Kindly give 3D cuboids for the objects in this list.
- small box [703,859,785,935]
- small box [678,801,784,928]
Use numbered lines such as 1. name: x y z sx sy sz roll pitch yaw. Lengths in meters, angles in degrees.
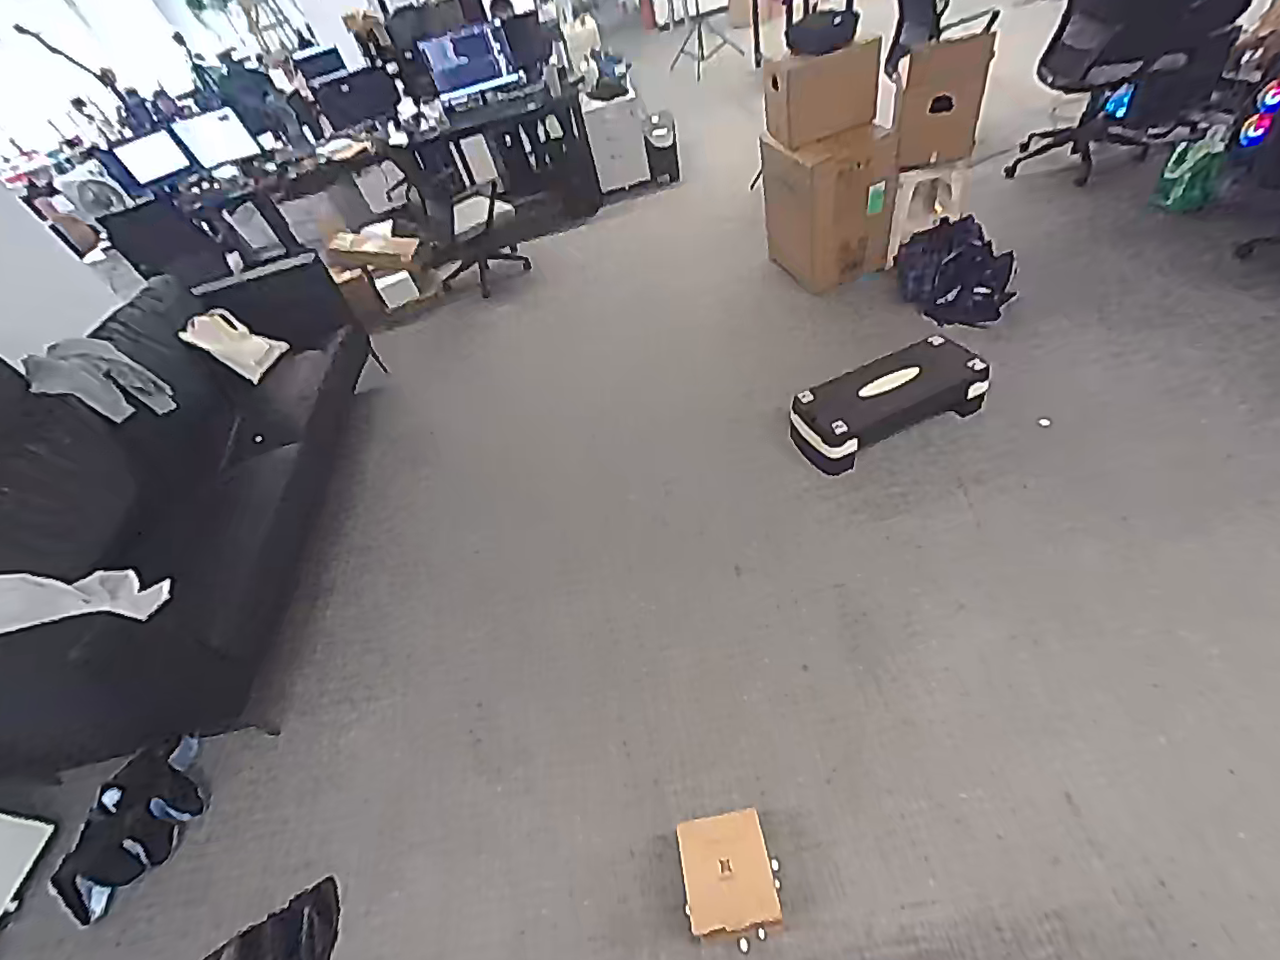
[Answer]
1. small box: 0.216 0.877 1.190 0.168 0.176 0.179 -14 47 6
2. small box: 0.182 0.767 1.075 0.168 0.176 0.179 -14 45 4
